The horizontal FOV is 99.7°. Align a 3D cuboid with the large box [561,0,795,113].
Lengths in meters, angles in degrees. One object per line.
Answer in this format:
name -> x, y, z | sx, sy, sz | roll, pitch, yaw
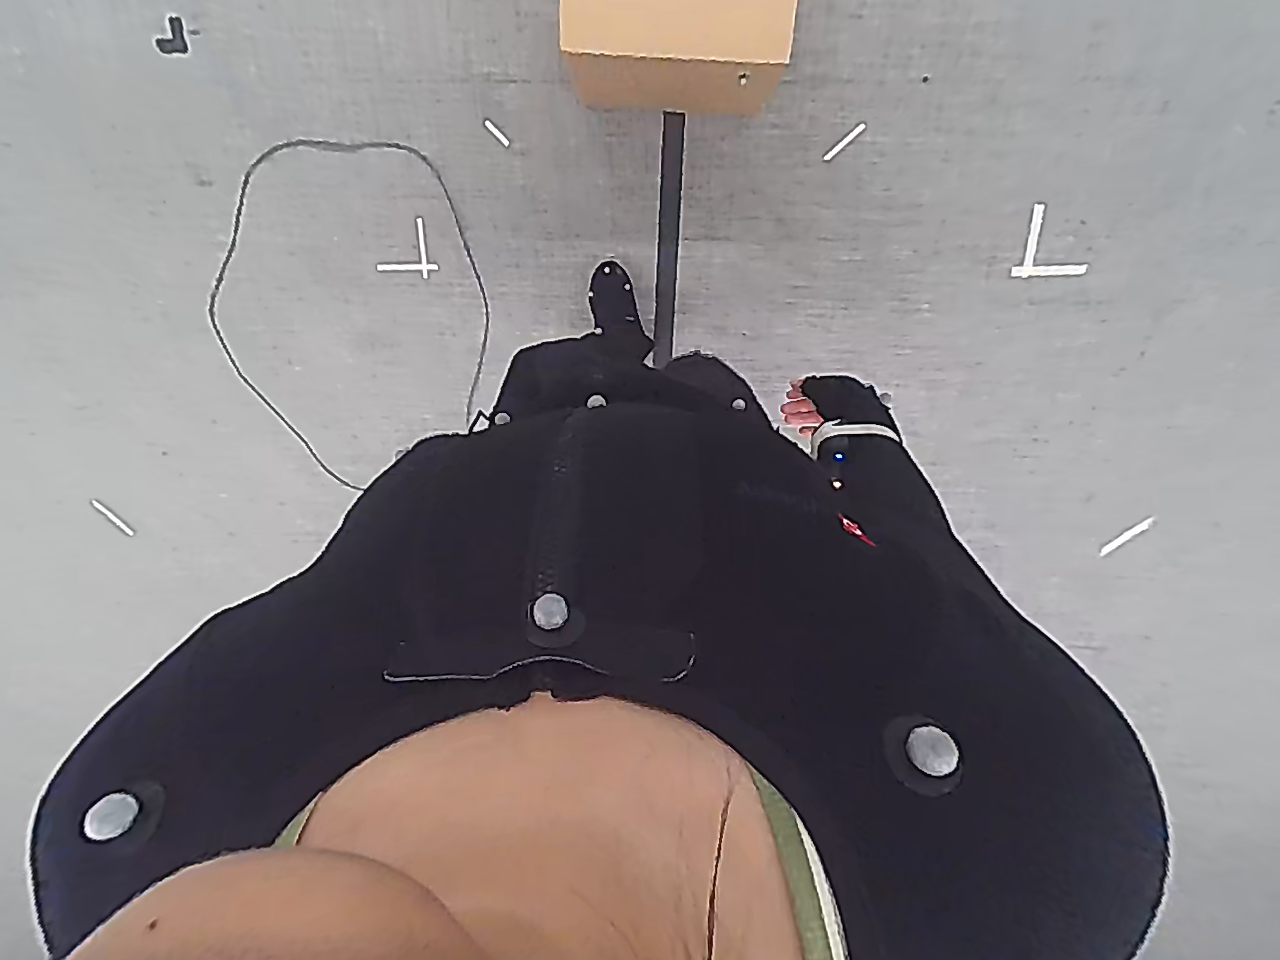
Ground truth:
large box -> 0.072, -0.926, 1.033 | 0.408, 0.320, 0.320 | 3, 109, 0
